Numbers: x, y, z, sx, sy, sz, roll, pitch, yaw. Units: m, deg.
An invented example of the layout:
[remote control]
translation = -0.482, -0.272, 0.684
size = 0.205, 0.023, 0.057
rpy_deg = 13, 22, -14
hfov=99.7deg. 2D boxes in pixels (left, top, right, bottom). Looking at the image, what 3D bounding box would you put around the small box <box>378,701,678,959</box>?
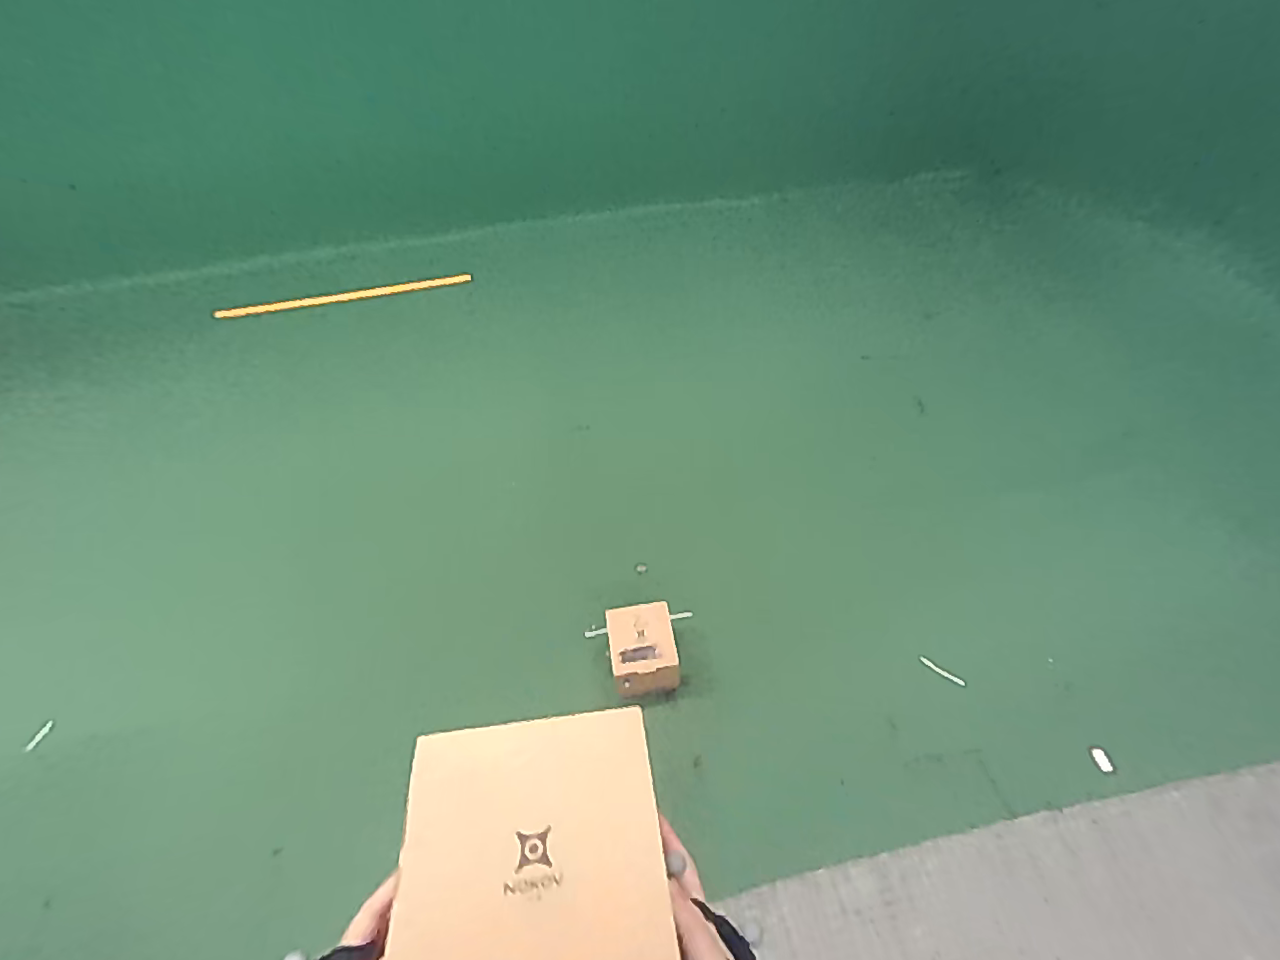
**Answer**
[small box]
translation = -0.073, 0.290, 0.390
size = 0.168, 0.176, 0.179
rpy_deg = -5, 42, -8
